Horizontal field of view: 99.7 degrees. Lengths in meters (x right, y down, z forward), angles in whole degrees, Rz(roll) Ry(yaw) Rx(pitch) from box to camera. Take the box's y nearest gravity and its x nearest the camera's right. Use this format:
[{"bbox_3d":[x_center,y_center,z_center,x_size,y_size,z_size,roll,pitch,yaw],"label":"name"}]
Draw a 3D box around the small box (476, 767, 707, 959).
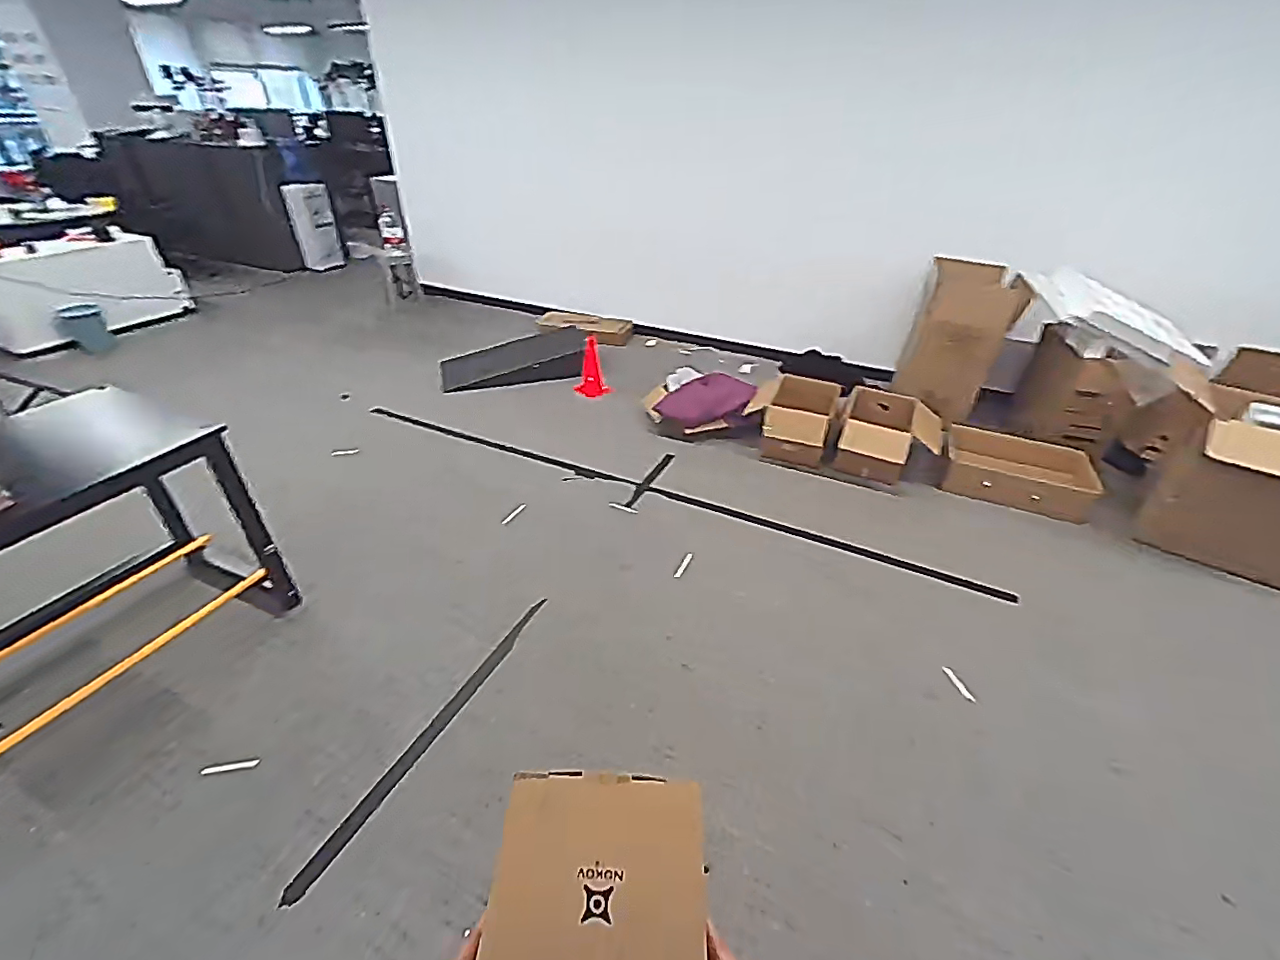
[{"bbox_3d":[-0.036,0.374,0.462,0.168,0.176,0.179,3,42,0],"label":"small box"}]
